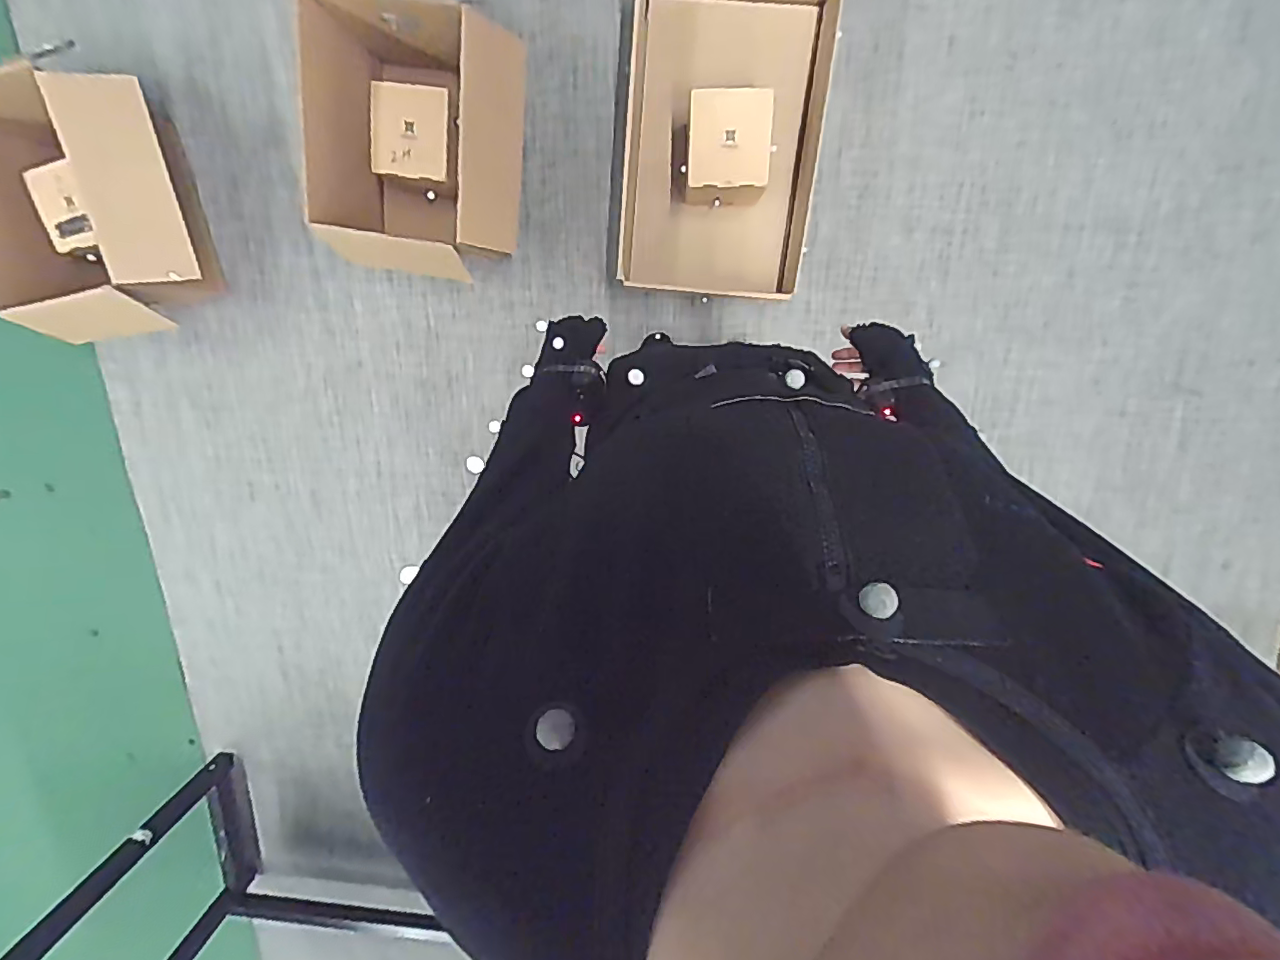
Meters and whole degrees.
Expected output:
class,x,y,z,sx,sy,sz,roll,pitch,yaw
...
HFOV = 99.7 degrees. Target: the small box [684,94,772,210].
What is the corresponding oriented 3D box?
class,x,y,z,sx,sy,sz,roll,pitch,yaw
small box,0.180,-0.694,1.159,0.168,0.176,0.179,1,105,3
